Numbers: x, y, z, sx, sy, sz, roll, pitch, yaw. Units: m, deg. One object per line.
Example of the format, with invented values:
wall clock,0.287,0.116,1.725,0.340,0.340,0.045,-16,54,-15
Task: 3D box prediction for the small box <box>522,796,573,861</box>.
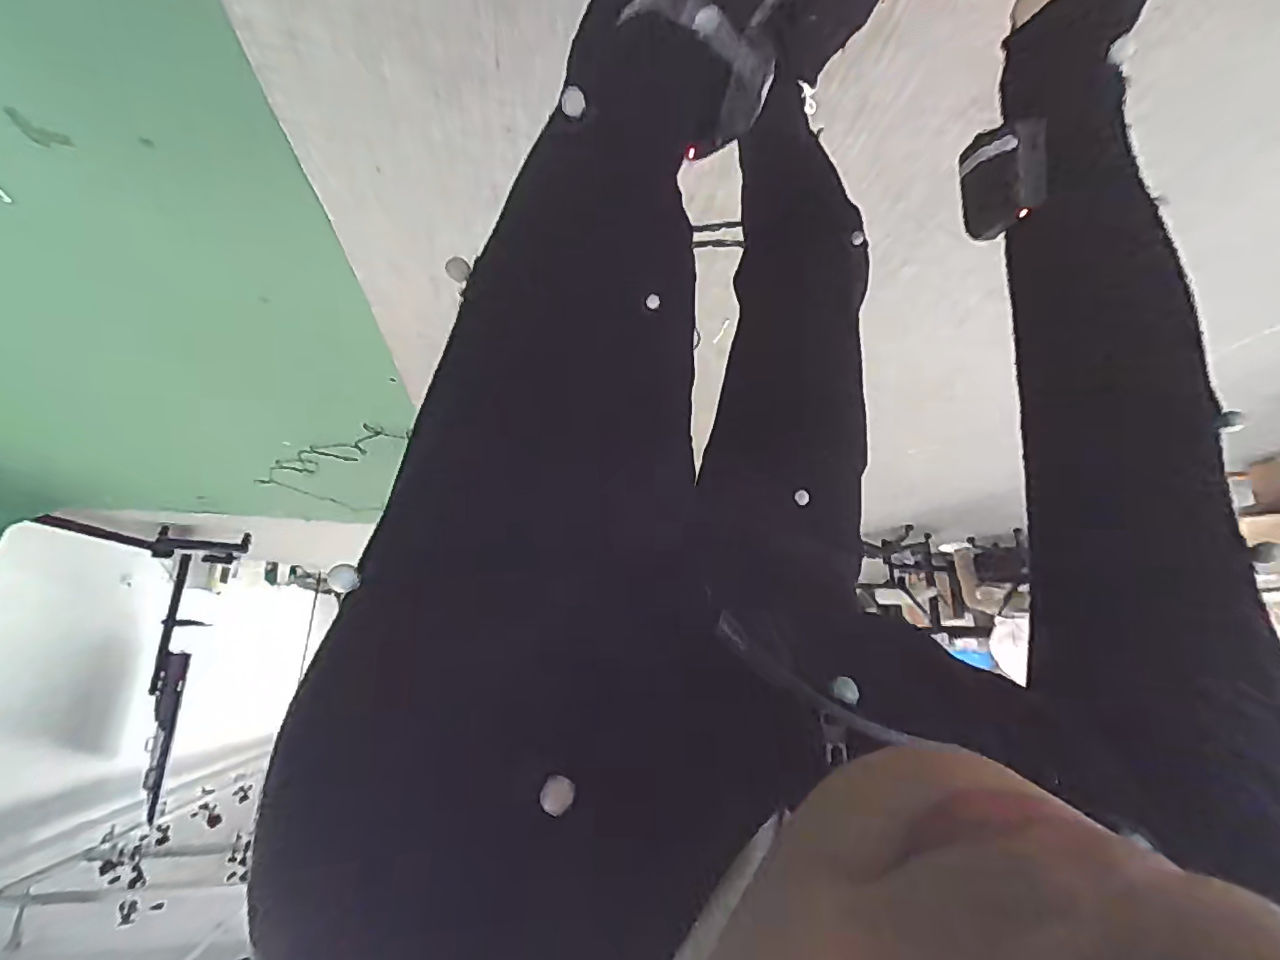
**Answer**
small box,-0.345,1.298,2.025,0.179,0.176,0.168,3,163,-8
